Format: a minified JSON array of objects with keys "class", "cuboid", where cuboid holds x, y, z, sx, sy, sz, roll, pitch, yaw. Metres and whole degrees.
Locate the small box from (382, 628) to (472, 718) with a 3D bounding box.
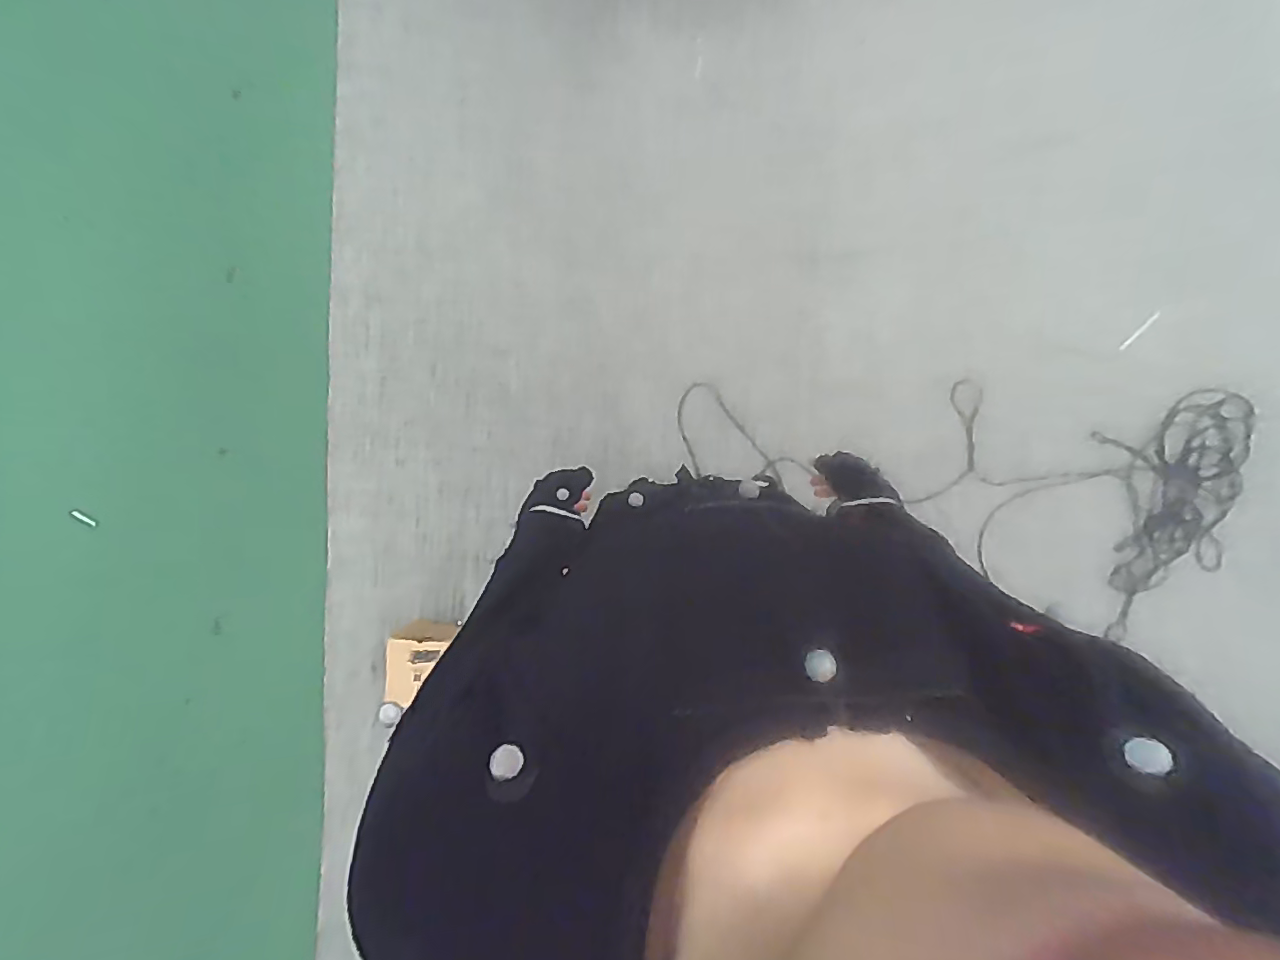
[{"class":"small box","cuboid":[-0.548,0.494,1.410,0.168,0.176,0.179,4,90,1]}]
